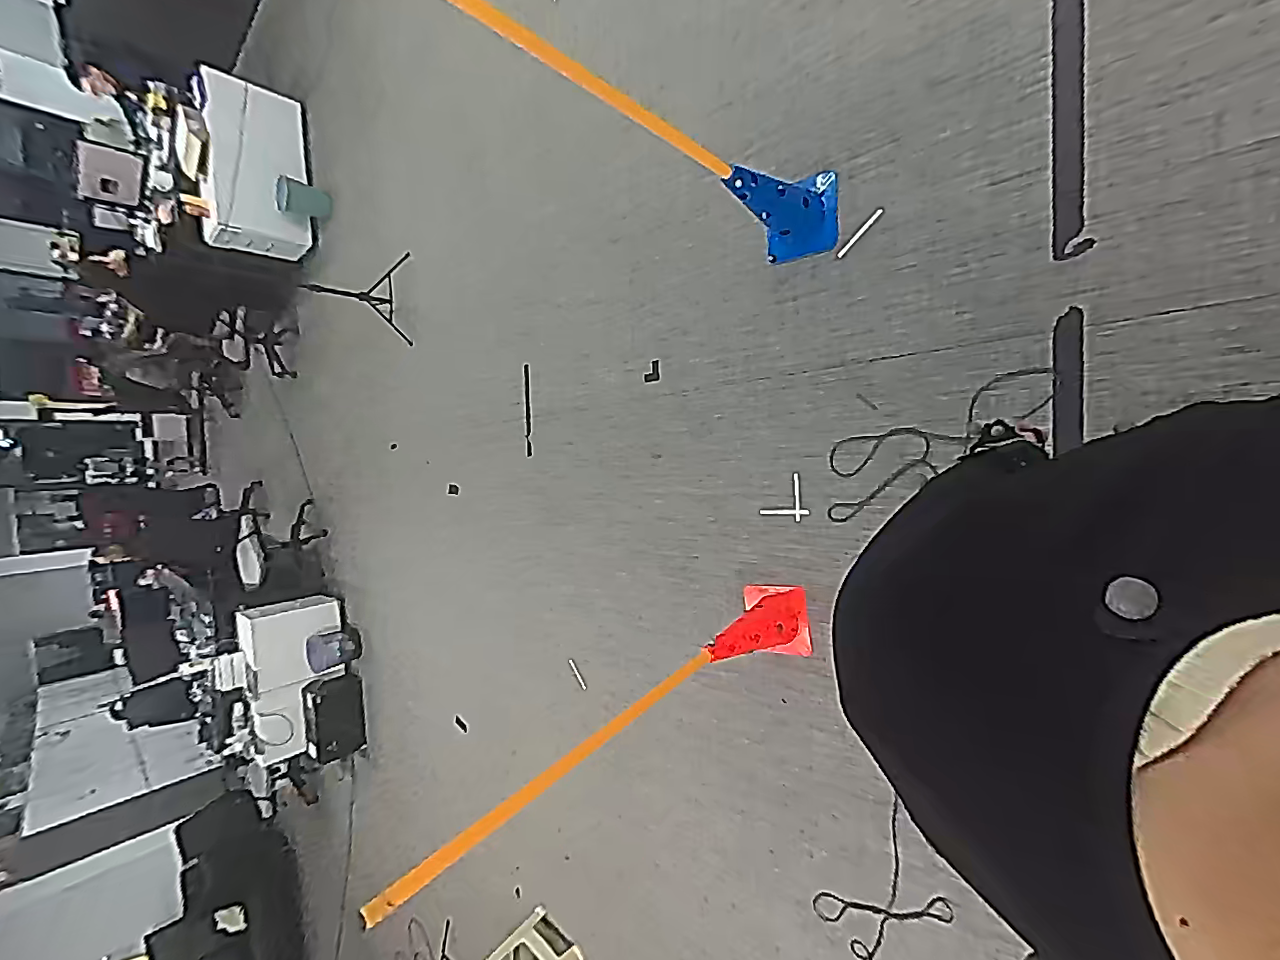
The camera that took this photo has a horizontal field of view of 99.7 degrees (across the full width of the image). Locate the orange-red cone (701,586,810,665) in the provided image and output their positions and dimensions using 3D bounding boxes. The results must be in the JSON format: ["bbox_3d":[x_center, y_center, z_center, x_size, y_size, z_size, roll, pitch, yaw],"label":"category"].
[{"bbox_3d":[0.283,0.420,1.448,0.199,0.360,0.198,-7,89,42],"label":"orange-red cone"}]

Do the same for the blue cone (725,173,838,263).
[{"bbox_3d":[0.326,-0.684,1.329,0.193,0.380,0.192,4,97,43],"label":"blue cone"}]
